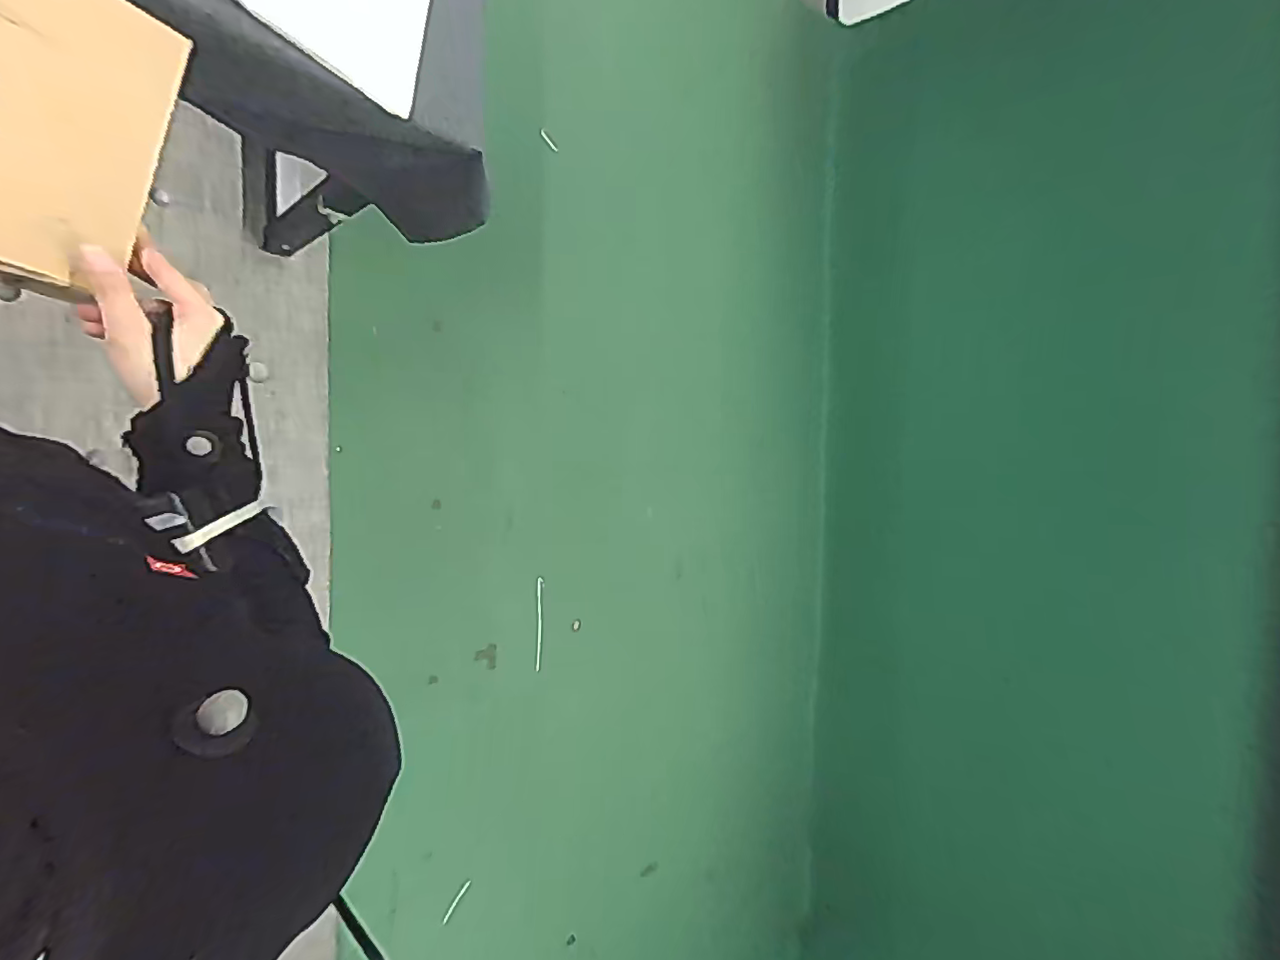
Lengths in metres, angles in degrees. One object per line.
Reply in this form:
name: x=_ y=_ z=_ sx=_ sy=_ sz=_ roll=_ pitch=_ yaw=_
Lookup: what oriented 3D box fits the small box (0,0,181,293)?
small box: x=-0.418 y=-0.228 z=0.328 sx=0.168 sy=0.176 sz=0.179 roll=16 pitch=88 yaw=-50
